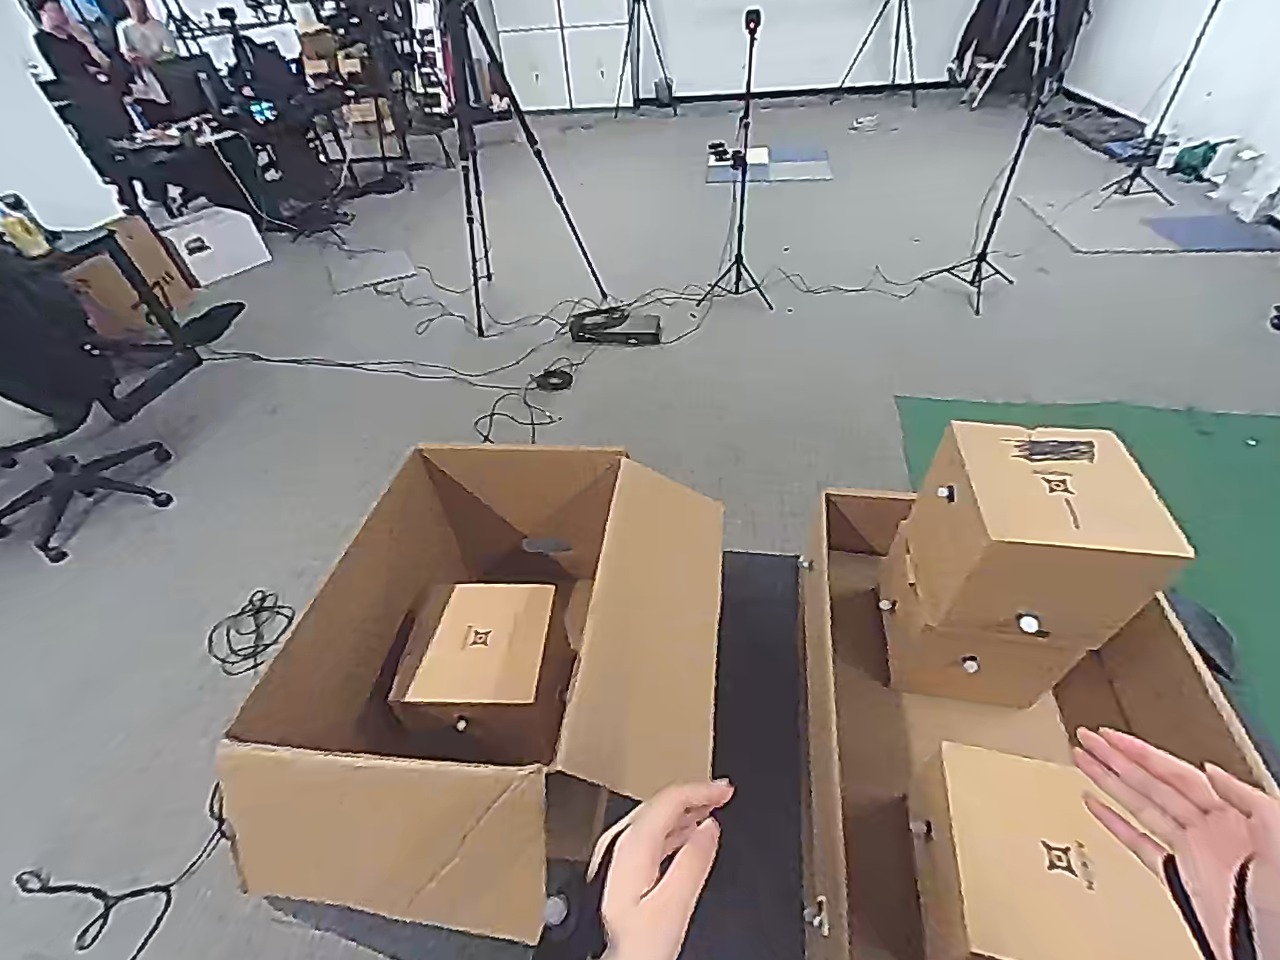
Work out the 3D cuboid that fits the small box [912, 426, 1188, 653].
[{"bbox_3d":[0.420,0.064,0.599,0.168,0.176,0.179,5,46,10],"label":"small box"}]
